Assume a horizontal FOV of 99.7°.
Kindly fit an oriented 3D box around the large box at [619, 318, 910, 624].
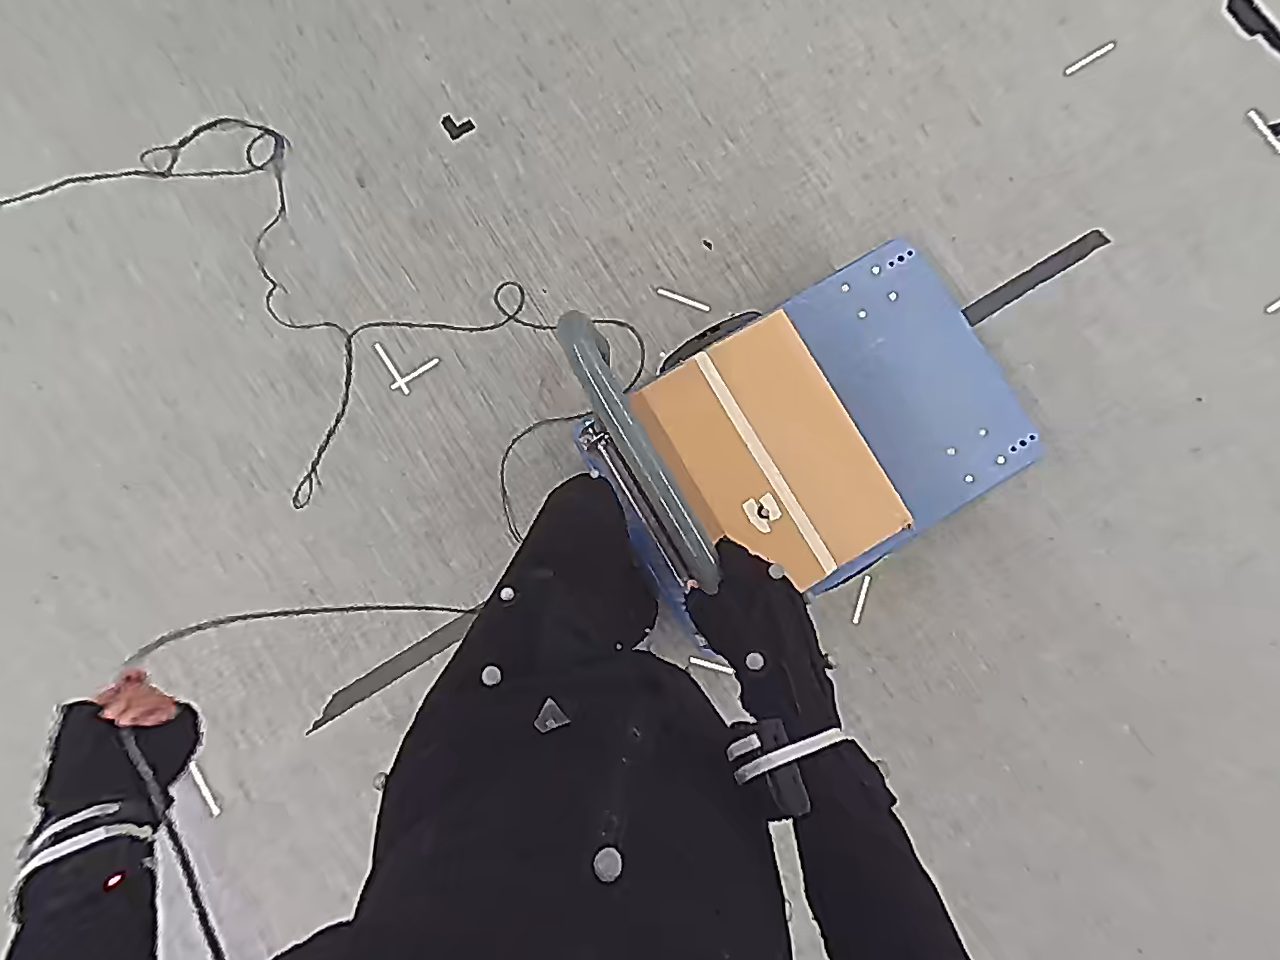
[{"bbox_3d":[0.192,-0.010,1.001,0.320,0.320,0.408,-30,87,-2],"label":"large box"}]
